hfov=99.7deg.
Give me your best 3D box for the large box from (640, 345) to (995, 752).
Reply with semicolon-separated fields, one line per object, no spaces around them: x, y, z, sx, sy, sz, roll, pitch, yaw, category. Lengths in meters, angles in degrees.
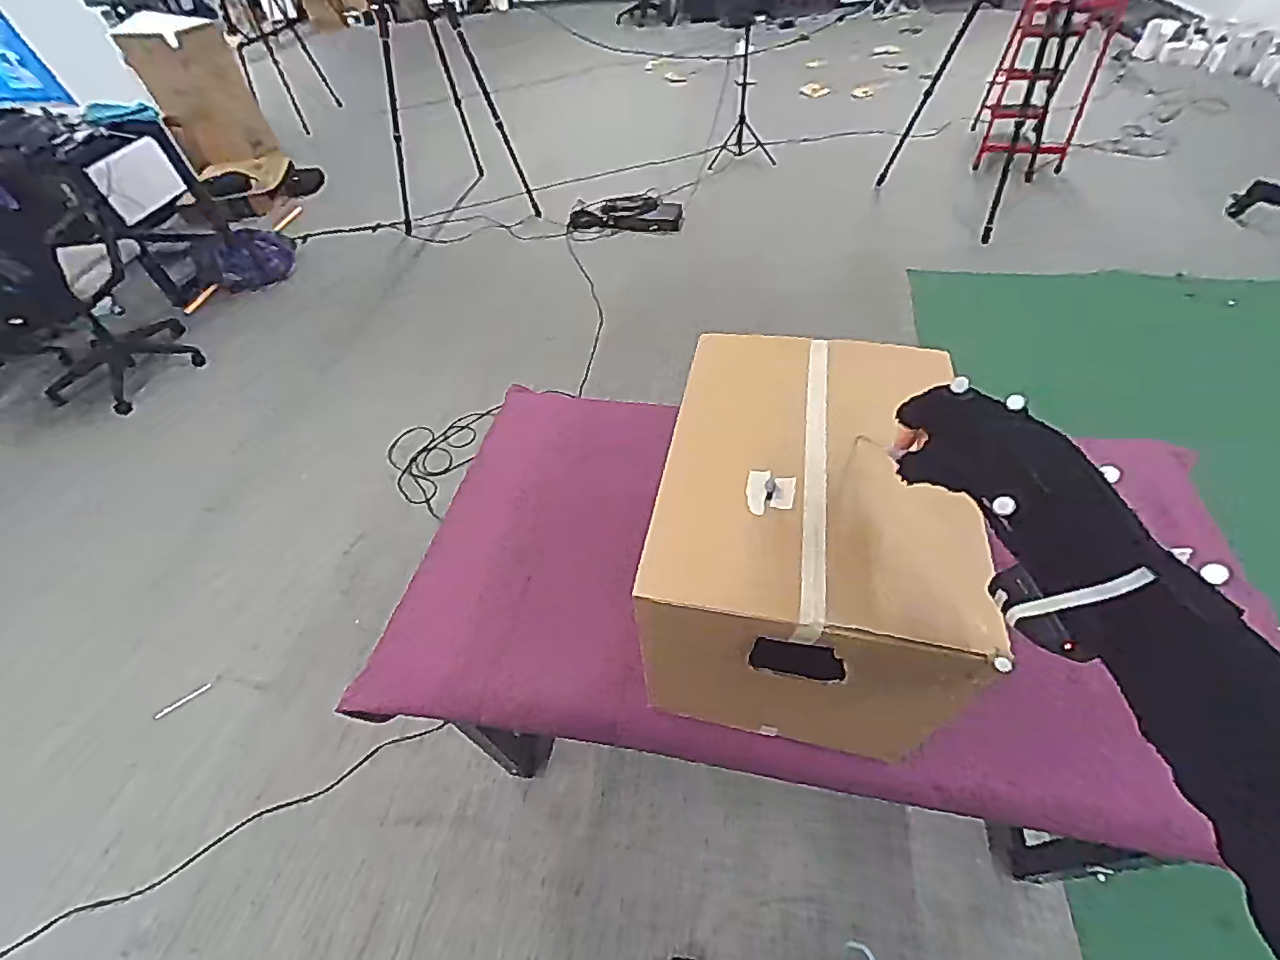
0.196;0.079;0.710;0.320;0.320;0.408;7;51;11;large box
